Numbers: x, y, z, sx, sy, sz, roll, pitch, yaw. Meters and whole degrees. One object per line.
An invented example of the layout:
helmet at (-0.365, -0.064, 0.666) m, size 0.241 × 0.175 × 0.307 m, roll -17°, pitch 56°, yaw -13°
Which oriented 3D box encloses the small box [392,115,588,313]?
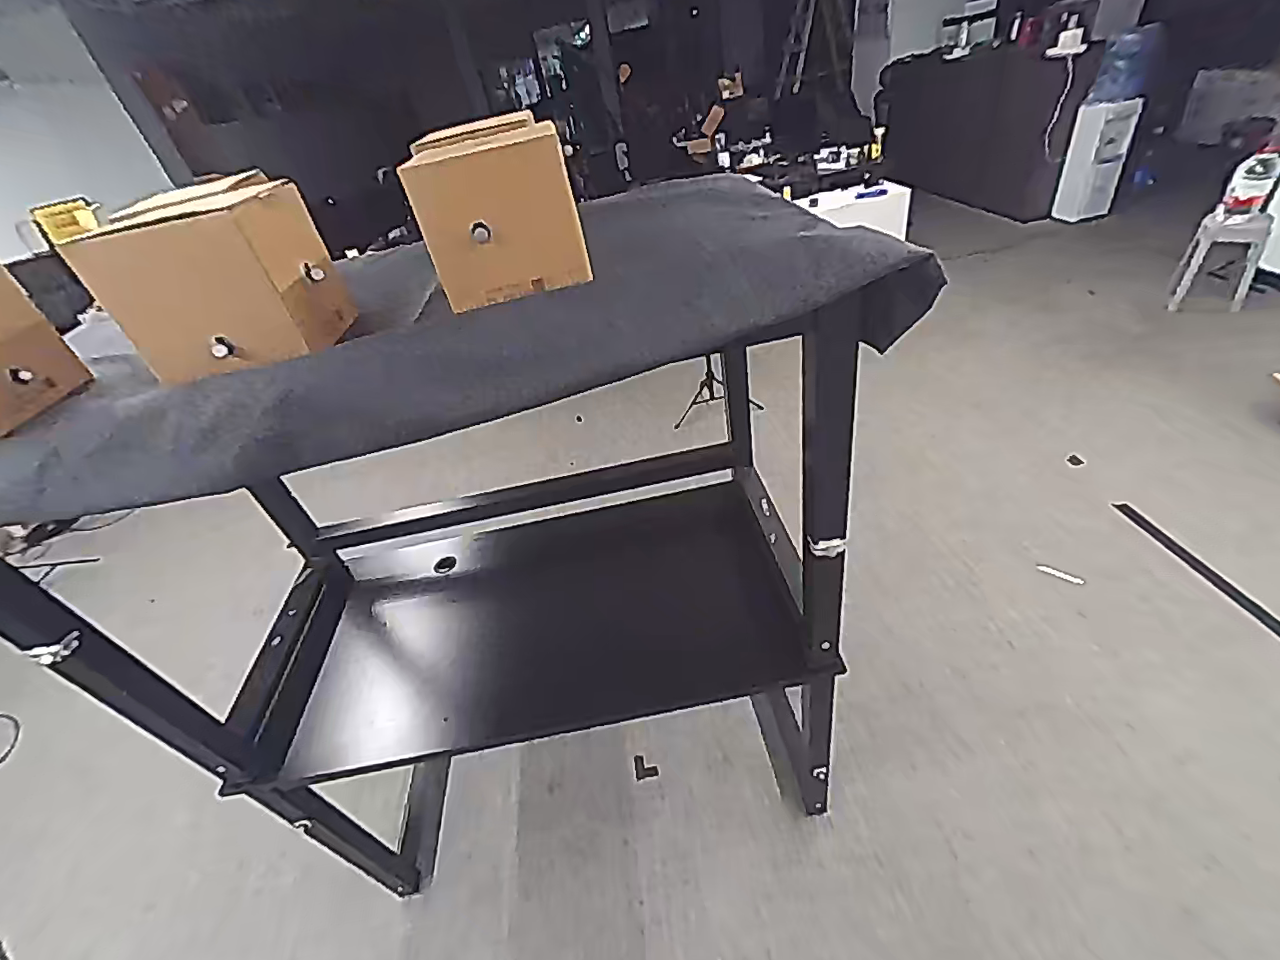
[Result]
small box at (-0.164, -0.315, 0.648) m, size 0.168 × 0.176 × 0.179 m, roll -14°, pitch 37°, yaw -1°

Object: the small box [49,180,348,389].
small box at (-0.475, -0.226, 0.625) m, size 0.179 × 0.176 × 0.168 m, roll -12°, pitch 36°, yaw -1°

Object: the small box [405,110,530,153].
small box at (-0.243, -0.477, 0.873) m, size 0.179 × 0.176 × 0.168 m, roll -13°, pitch 38°, yaw 1°

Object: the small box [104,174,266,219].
small box at (-0.662, -0.368, 0.860) m, size 0.168 × 0.176 × 0.179 m, roll -18°, pitch 38°, yaw -4°
